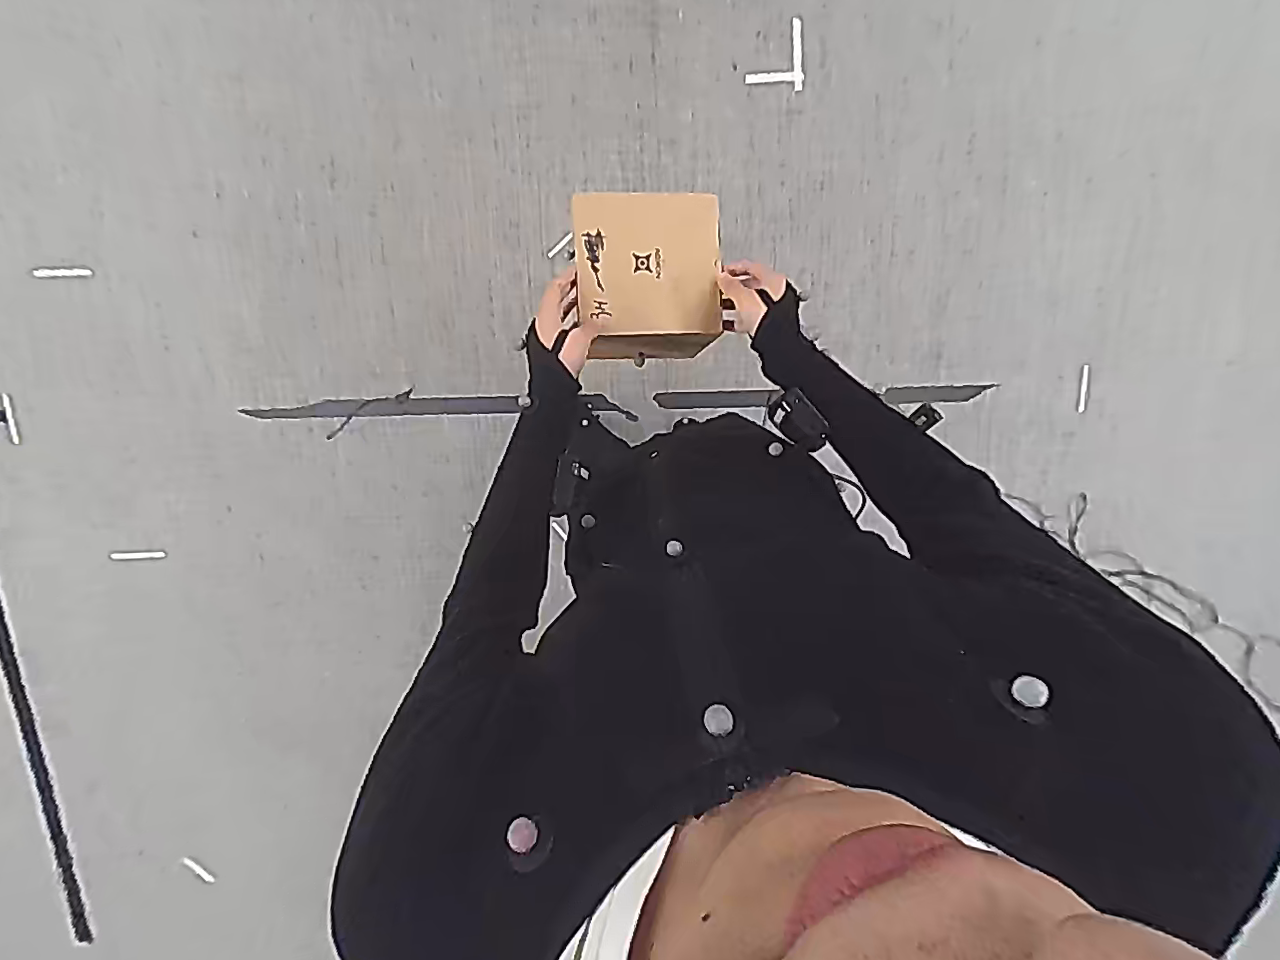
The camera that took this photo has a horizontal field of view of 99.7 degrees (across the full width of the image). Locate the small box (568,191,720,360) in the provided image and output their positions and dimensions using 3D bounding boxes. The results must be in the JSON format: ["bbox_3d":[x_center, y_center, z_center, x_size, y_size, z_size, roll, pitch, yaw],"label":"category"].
[{"bbox_3d":[-0.003,-0.255,0.713,0.179,0.176,0.168,-2,93,-8],"label":"small box"}]
